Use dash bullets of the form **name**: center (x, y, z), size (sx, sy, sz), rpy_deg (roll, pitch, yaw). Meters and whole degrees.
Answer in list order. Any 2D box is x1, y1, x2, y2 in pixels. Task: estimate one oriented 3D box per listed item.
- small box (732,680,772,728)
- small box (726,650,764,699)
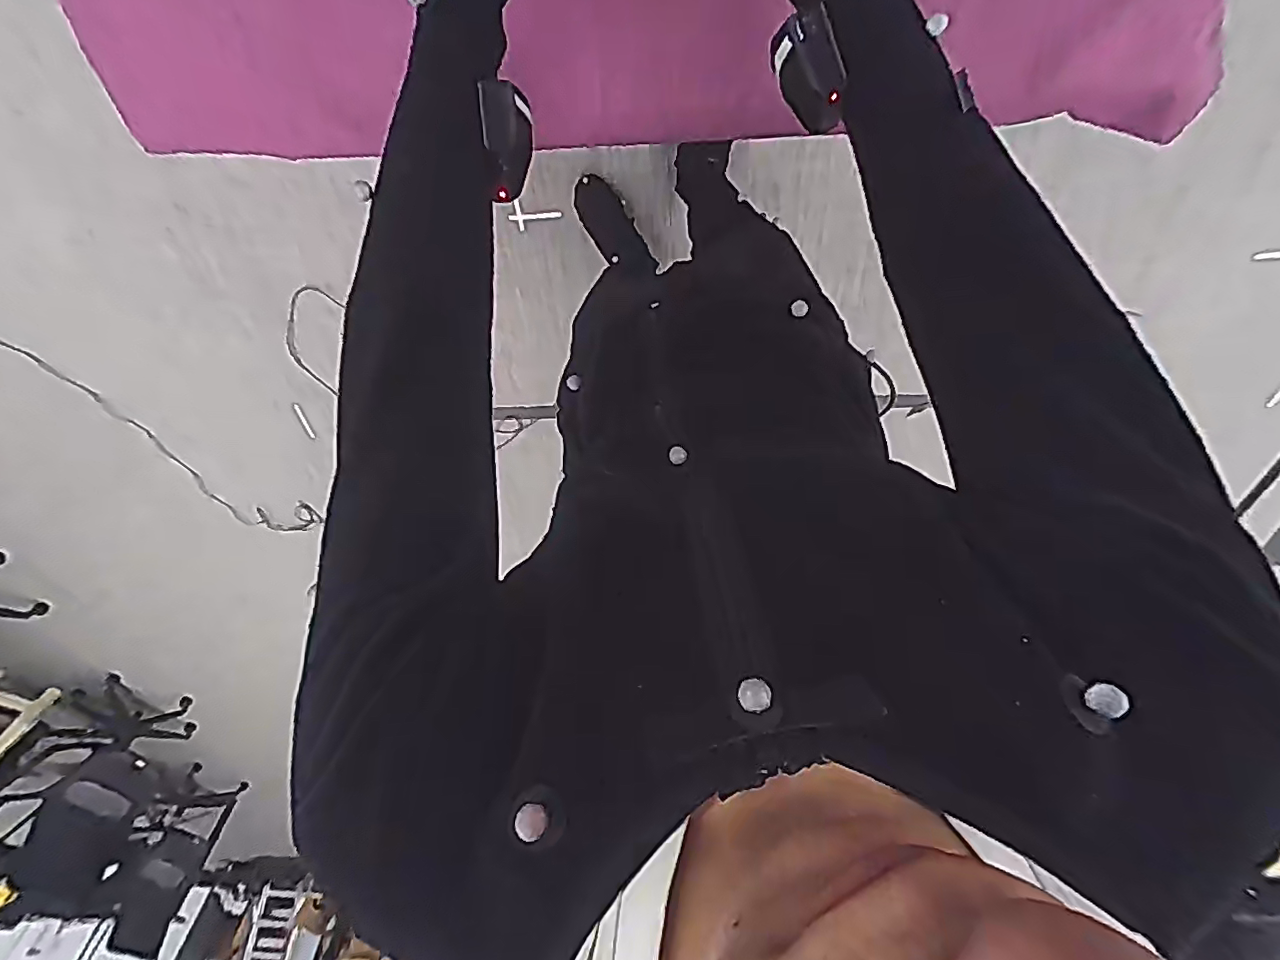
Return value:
- **small box**: center (0.529, 1.073, 2.569), size (0.168, 0.176, 0.179), rpy_deg (-6, 130, 5)
- **small box**: center (0.524, 0.970, 2.697), size (0.168, 0.176, 0.179), rpy_deg (-7, 130, 7)
